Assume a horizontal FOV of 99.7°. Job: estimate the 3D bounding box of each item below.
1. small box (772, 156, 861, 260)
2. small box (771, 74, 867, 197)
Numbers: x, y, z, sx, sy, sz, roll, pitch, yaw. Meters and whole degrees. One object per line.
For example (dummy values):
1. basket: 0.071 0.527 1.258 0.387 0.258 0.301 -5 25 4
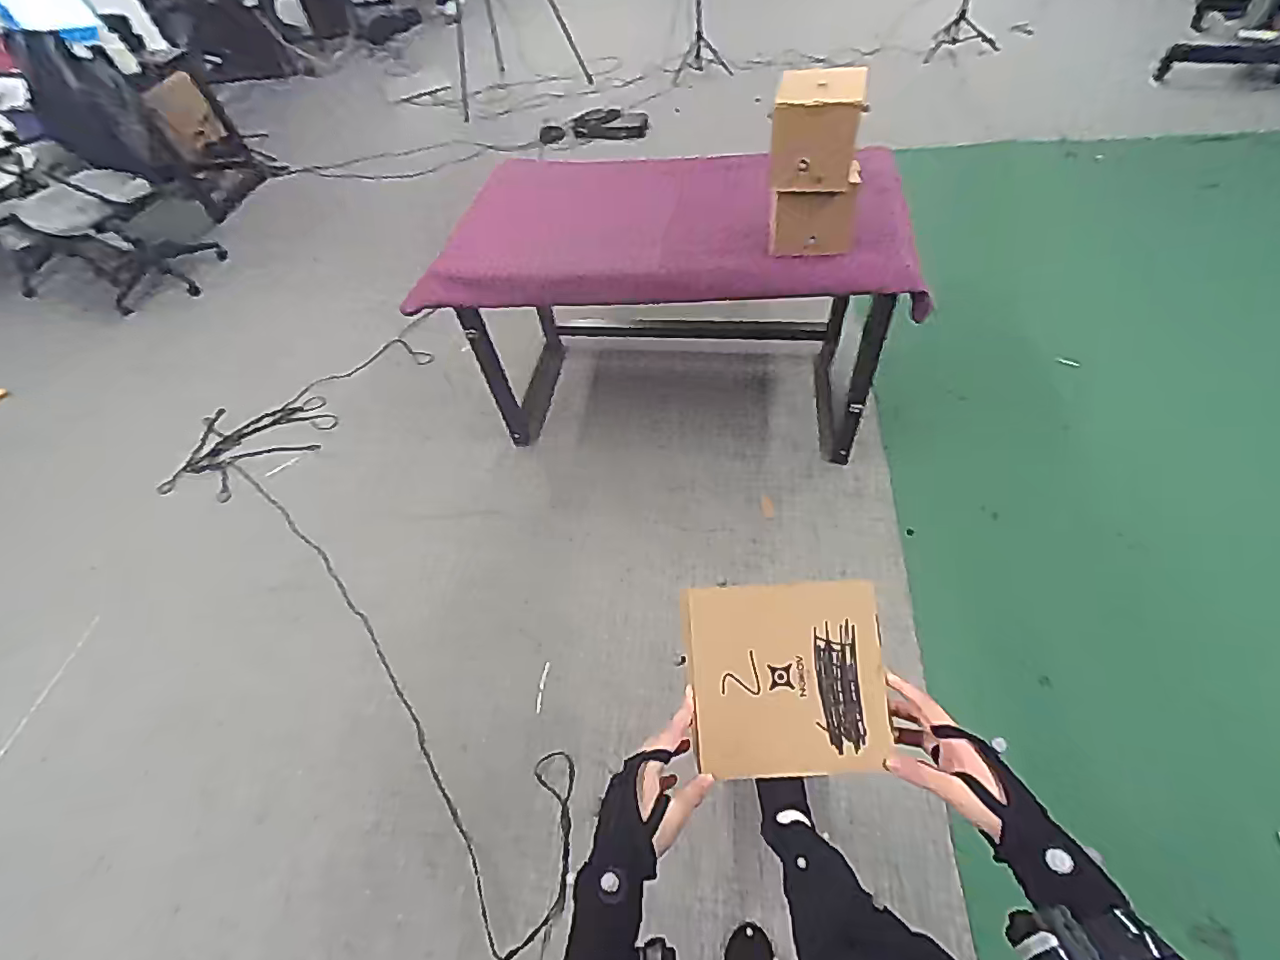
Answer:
1. small box: 0.408 -0.639 1.276 0.179 0.176 0.168 2 52 10
2. small box: 0.371 -0.724 1.139 0.168 0.176 0.179 8 55 16
